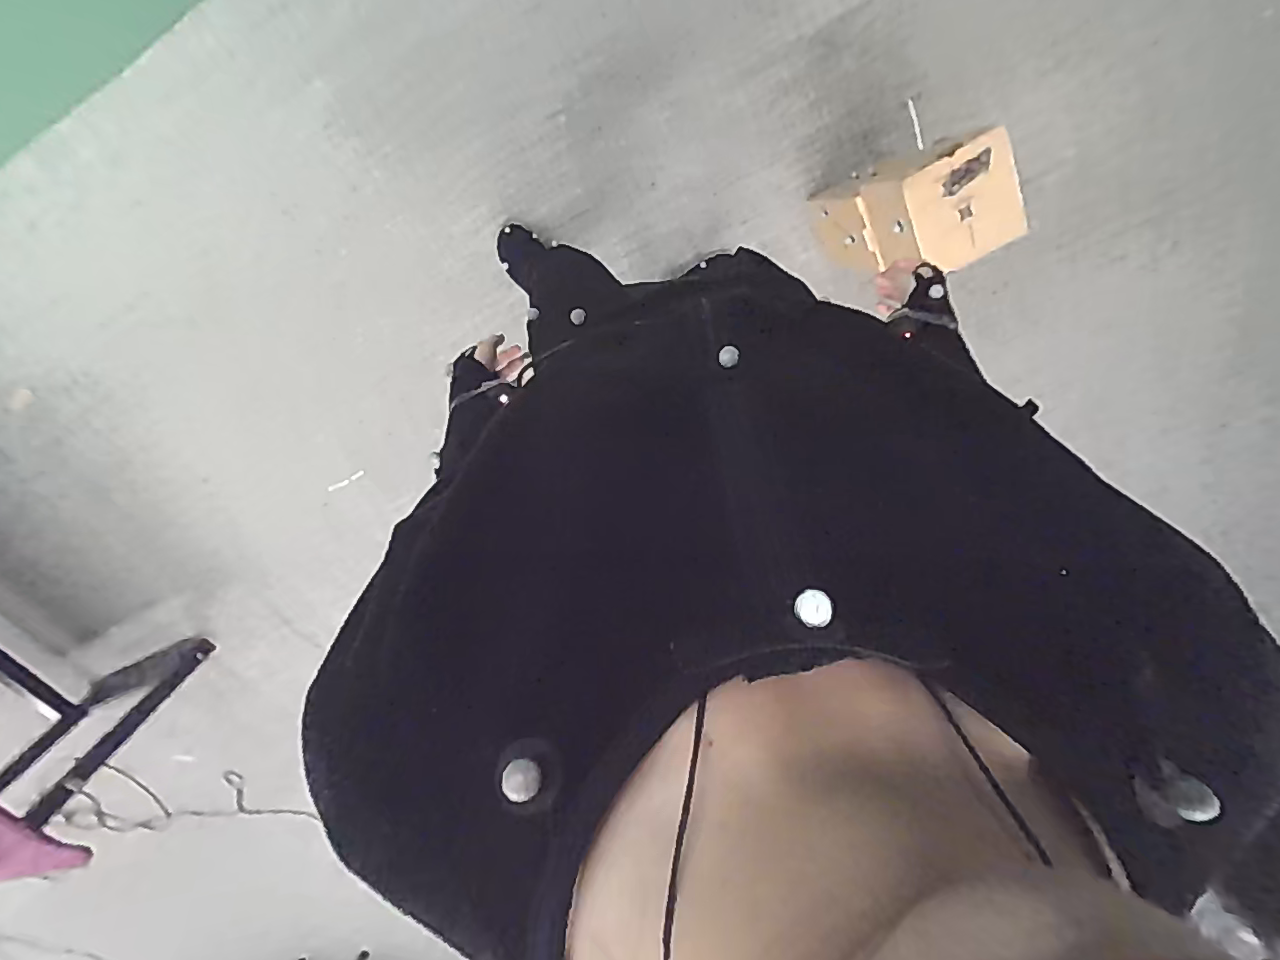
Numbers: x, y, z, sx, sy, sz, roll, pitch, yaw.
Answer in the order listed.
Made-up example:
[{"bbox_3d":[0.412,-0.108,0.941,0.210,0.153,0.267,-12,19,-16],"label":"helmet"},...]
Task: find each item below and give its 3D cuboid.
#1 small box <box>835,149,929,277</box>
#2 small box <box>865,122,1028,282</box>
[{"bbox_3d":[0.507,-0.527,1.071,0.179,0.176,0.168,-26,114,13],"label":"small box"},{"bbox_3d":[0.510,-0.463,0.919,0.168,0.176,0.179,-26,114,11],"label":"small box"}]
